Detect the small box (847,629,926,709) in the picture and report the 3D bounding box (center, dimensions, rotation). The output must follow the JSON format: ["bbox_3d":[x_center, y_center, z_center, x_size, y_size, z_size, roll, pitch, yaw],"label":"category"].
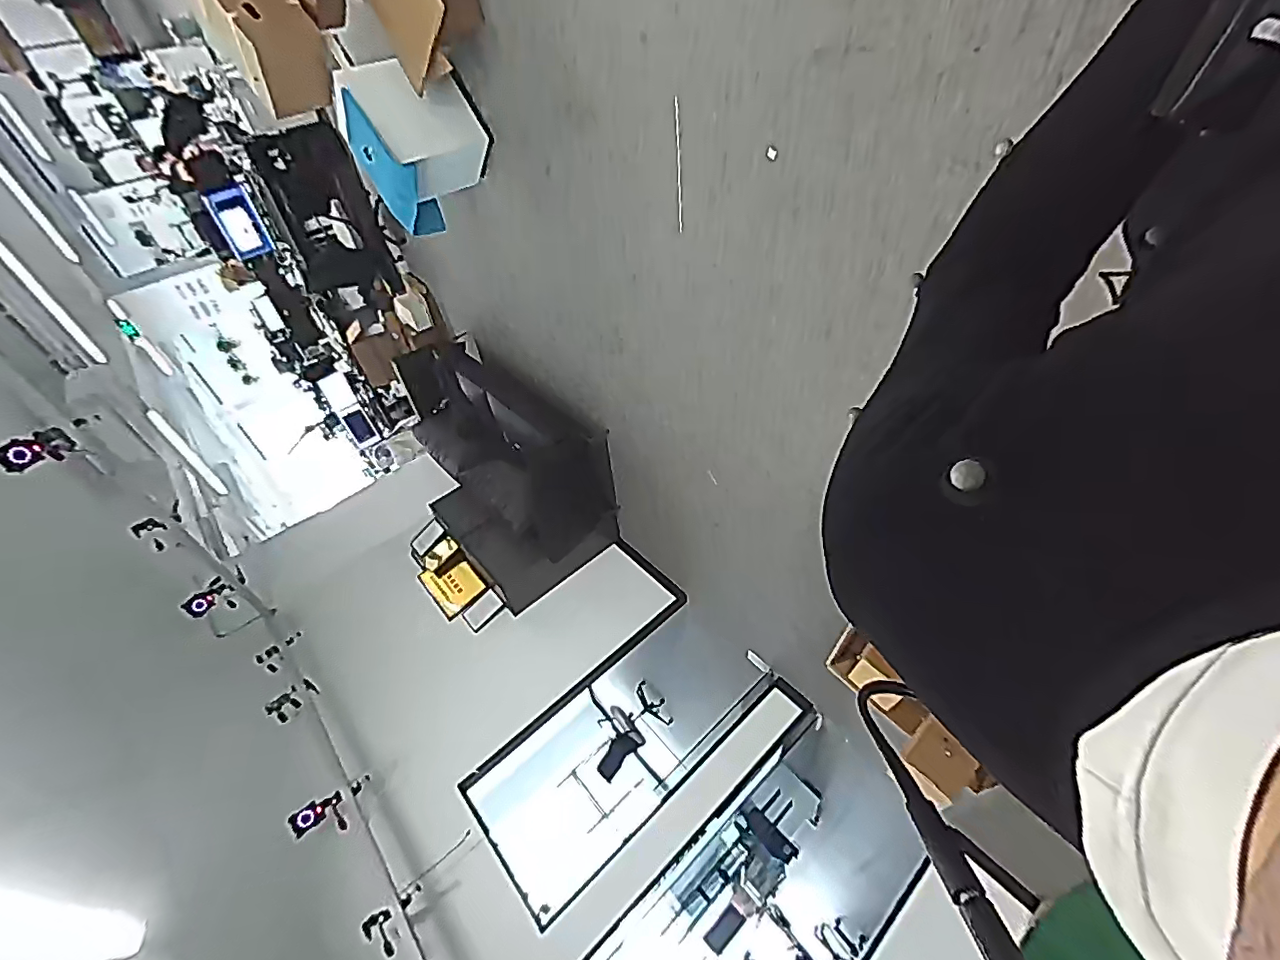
[{"bbox_3d":[0.866,0.661,1.896,0.168,0.176,0.179,40,150,29],"label":"small box"}]

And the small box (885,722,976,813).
[{"bbox_3d":[0.919,0.907,1.709,0.168,0.176,0.179,39,150,30],"label":"small box"}]
